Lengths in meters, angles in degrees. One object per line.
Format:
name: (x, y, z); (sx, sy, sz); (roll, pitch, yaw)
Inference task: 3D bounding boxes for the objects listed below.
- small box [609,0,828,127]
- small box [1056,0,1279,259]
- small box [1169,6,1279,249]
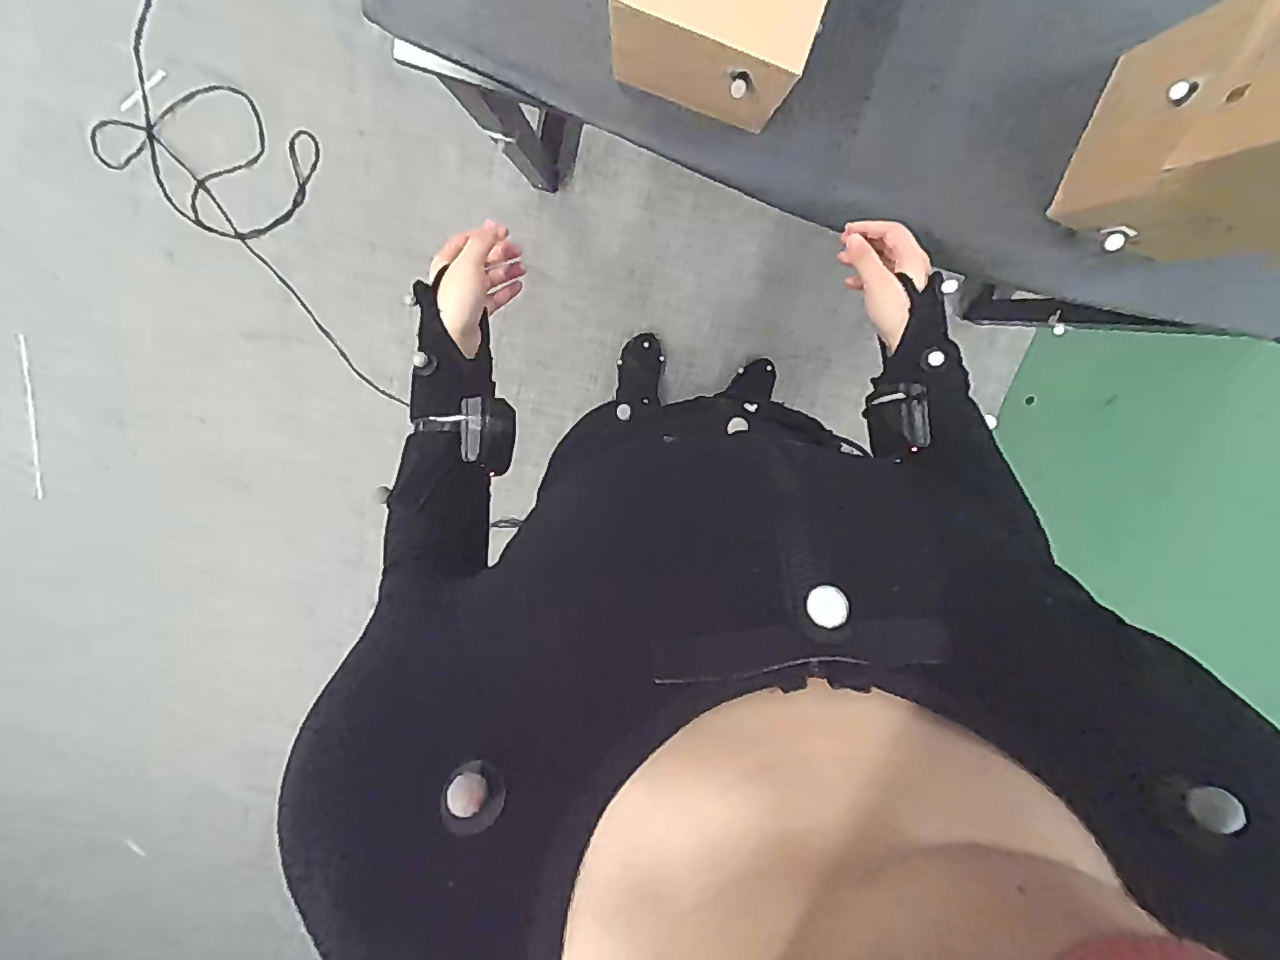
small box: (0.080, -0.467, 0.512); (0.179, 0.176, 0.168); (17, 106, -5)
small box: (0.585, -0.344, 0.551); (0.168, 0.176, 0.179); (16, 106, -4)
small box: (0.580, -0.284, 0.399); (0.179, 0.176, 0.168); (26, 105, -6)
